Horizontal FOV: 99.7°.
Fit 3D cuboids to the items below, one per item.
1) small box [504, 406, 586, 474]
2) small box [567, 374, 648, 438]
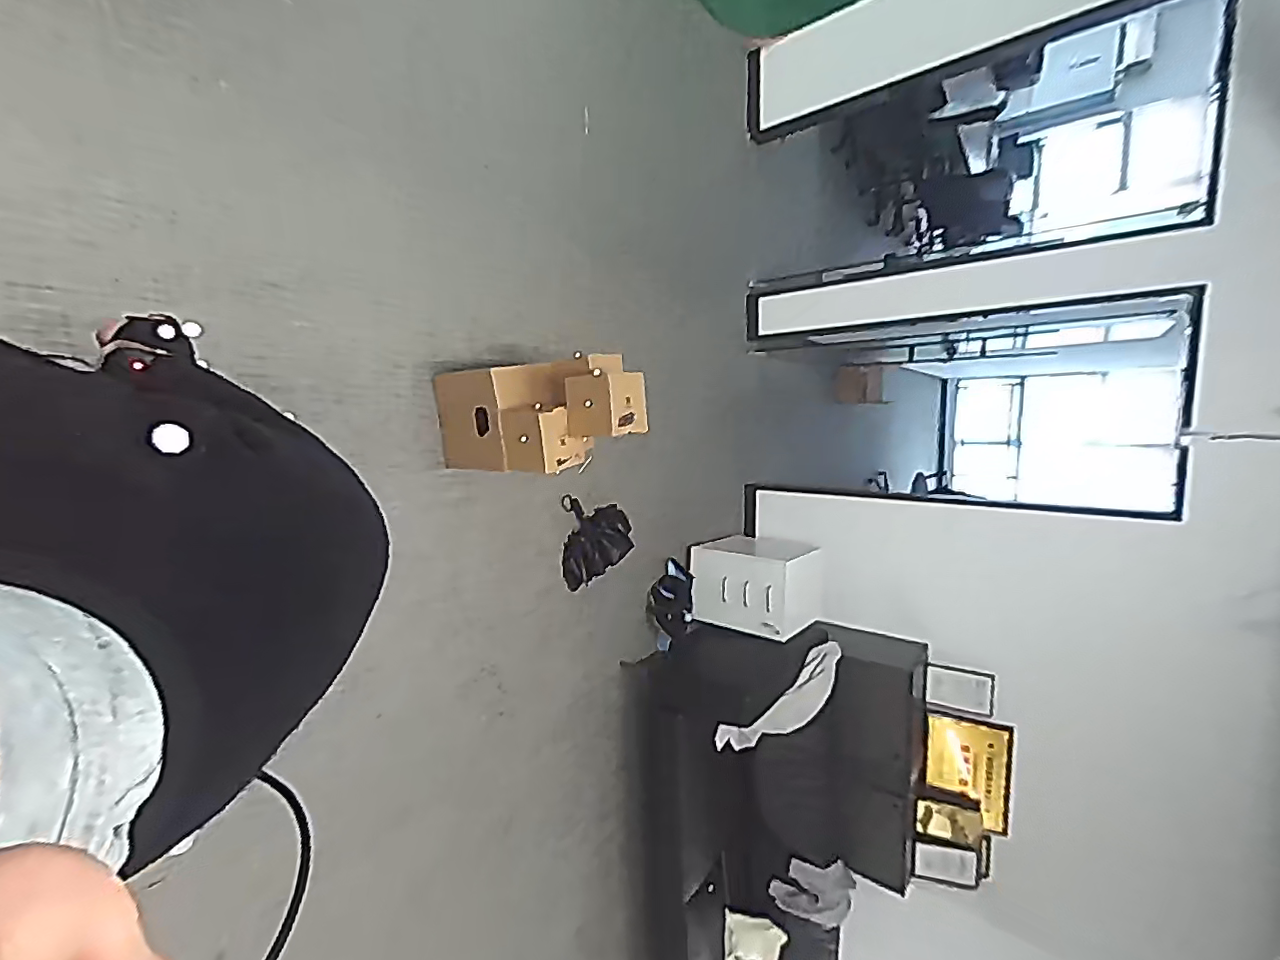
[{"bbox_3d":[-0.286,-0.122,1.615,0.168,0.176,0.179,-23,111,-49],"label":"small box"},{"bbox_3d":[-0.096,-0.216,1.582,0.168,0.176,0.179,-15,103,-51],"label":"small box"}]
